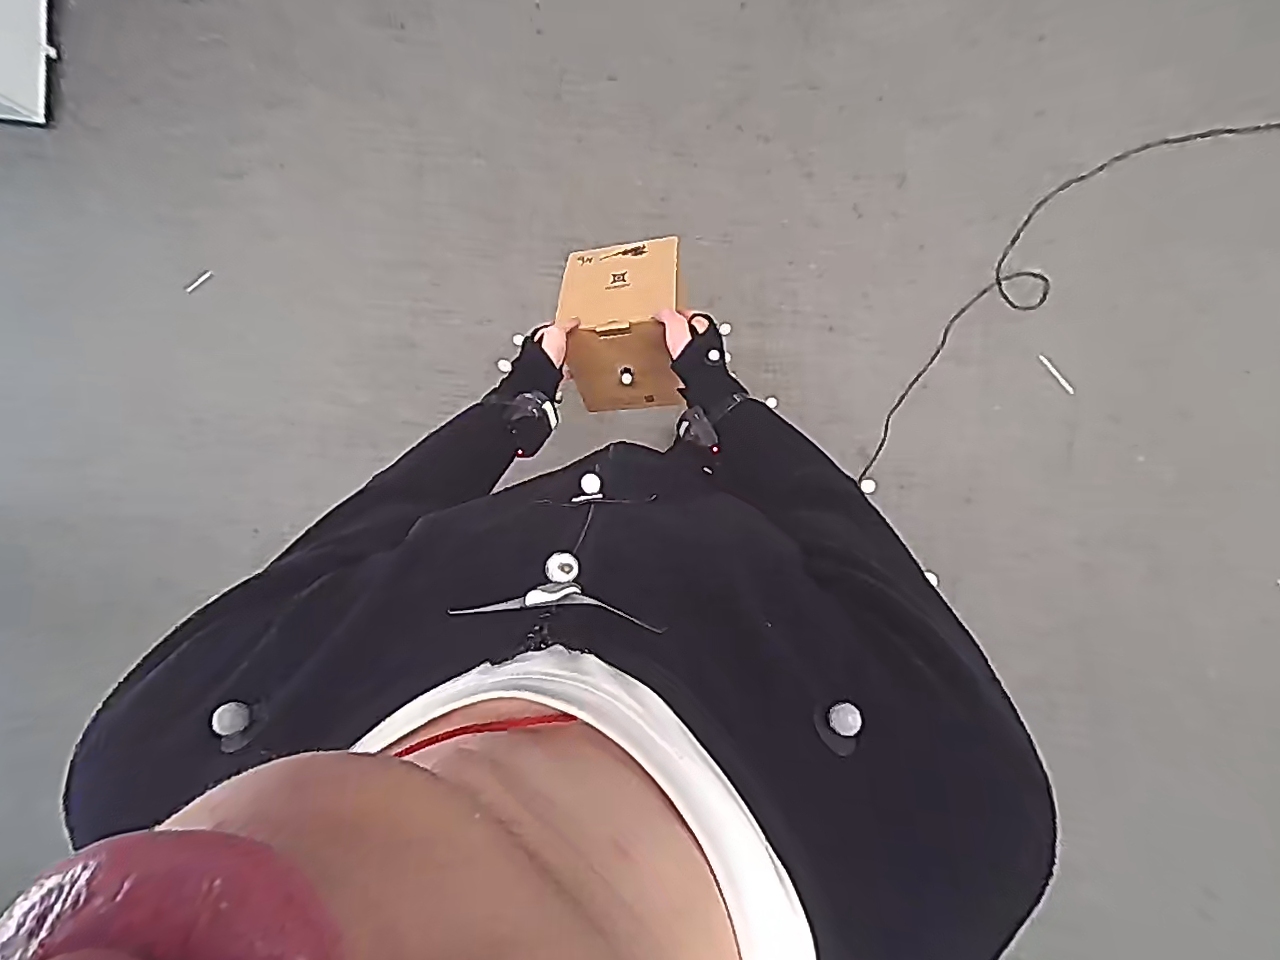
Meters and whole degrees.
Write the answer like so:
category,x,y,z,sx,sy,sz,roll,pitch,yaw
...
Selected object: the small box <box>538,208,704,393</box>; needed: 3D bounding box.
category,x,y,z,sx,sy,sz,roll,pitch,yaw
small box,-0.022,-0.262,0.807,0.179,0.176,0.168,-29,54,-5
